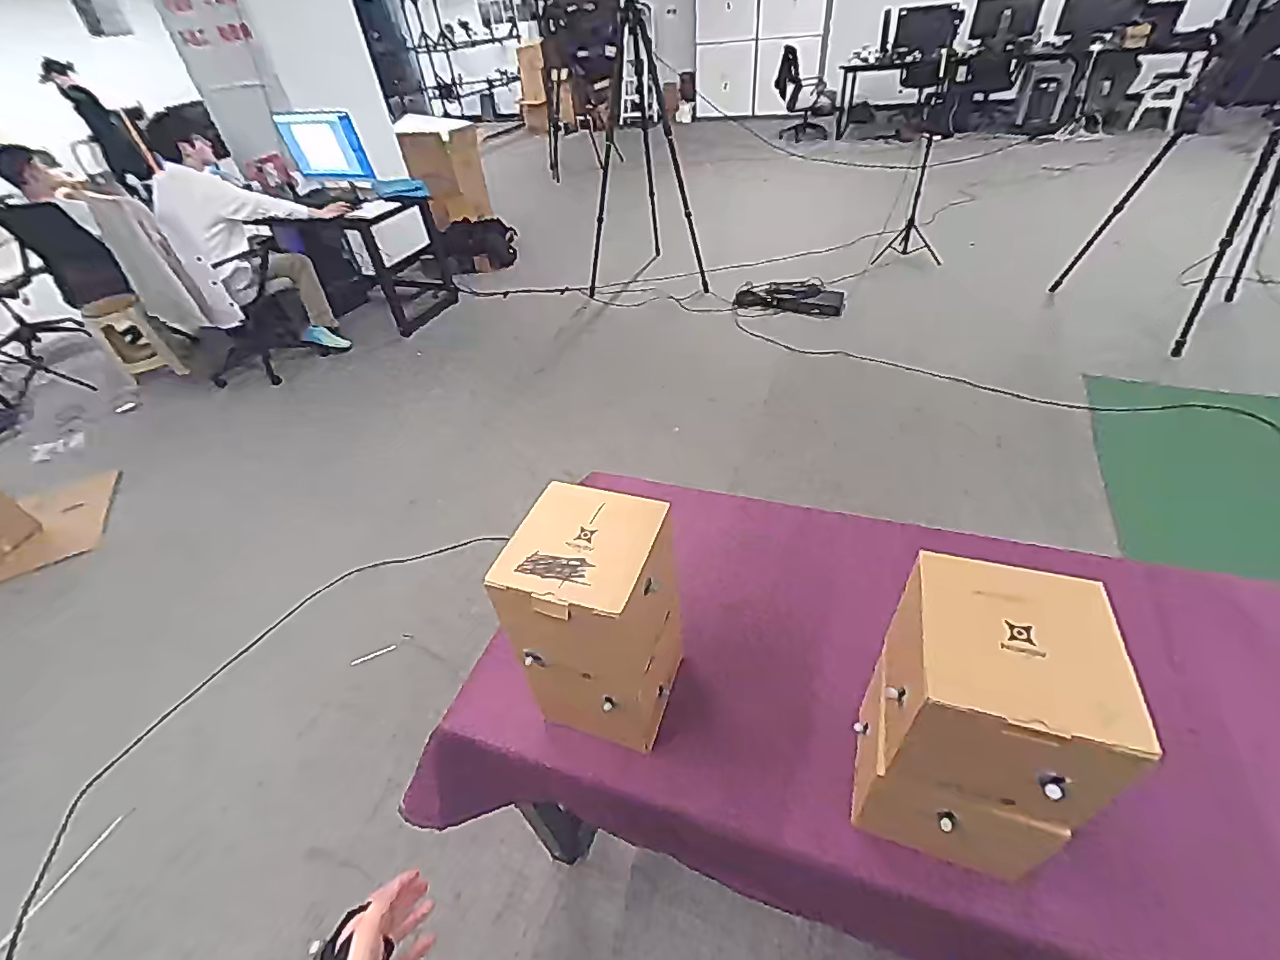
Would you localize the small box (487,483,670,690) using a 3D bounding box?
[{"bbox_3d":[-0.060,0.133,0.681,0.168,0.176,0.179,11,42,17],"label":"small box"}]

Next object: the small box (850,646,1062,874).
[{"bbox_3d":[0.360,0.335,0.649,0.179,0.176,0.168,12,45,19],"label":"small box"}]

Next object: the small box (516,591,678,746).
[{"bbox_3d":[-0.050,0.257,0.788,0.179,0.176,0.168,11,44,17],"label":"small box"}]

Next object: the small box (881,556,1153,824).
[{"bbox_3d":[0.350,0.209,0.545,0.168,0.176,0.179,10,43,17],"label":"small box"}]
